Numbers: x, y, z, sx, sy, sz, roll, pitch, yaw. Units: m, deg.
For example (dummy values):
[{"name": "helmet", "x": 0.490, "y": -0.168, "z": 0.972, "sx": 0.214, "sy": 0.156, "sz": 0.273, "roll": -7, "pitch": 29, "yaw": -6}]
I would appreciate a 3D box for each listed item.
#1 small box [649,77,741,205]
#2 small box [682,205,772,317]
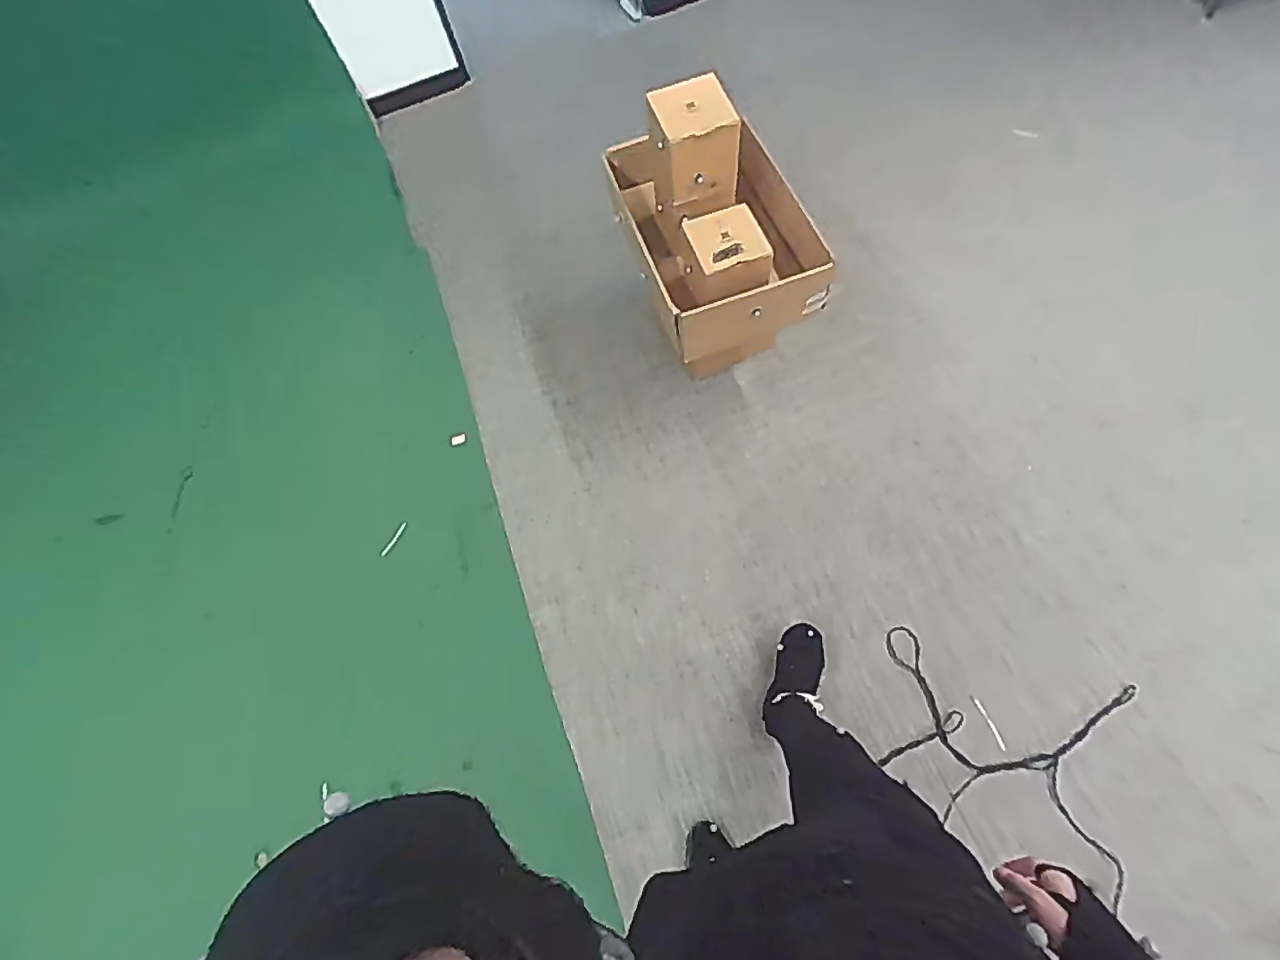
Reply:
[{"name": "small box", "x": 0.126, "y": -0.795, "z": 1.277, "sx": 0.168, "sy": 0.176, "sz": 0.179, "roll": -18, "pitch": 68, "yaw": -2}, {"name": "small box", "x": 0.210, "y": -0.527, "z": 1.328, "sx": 0.168, "sy": 0.176, "sz": 0.179, "roll": -18, "pitch": 65, "yaw": -1}]
